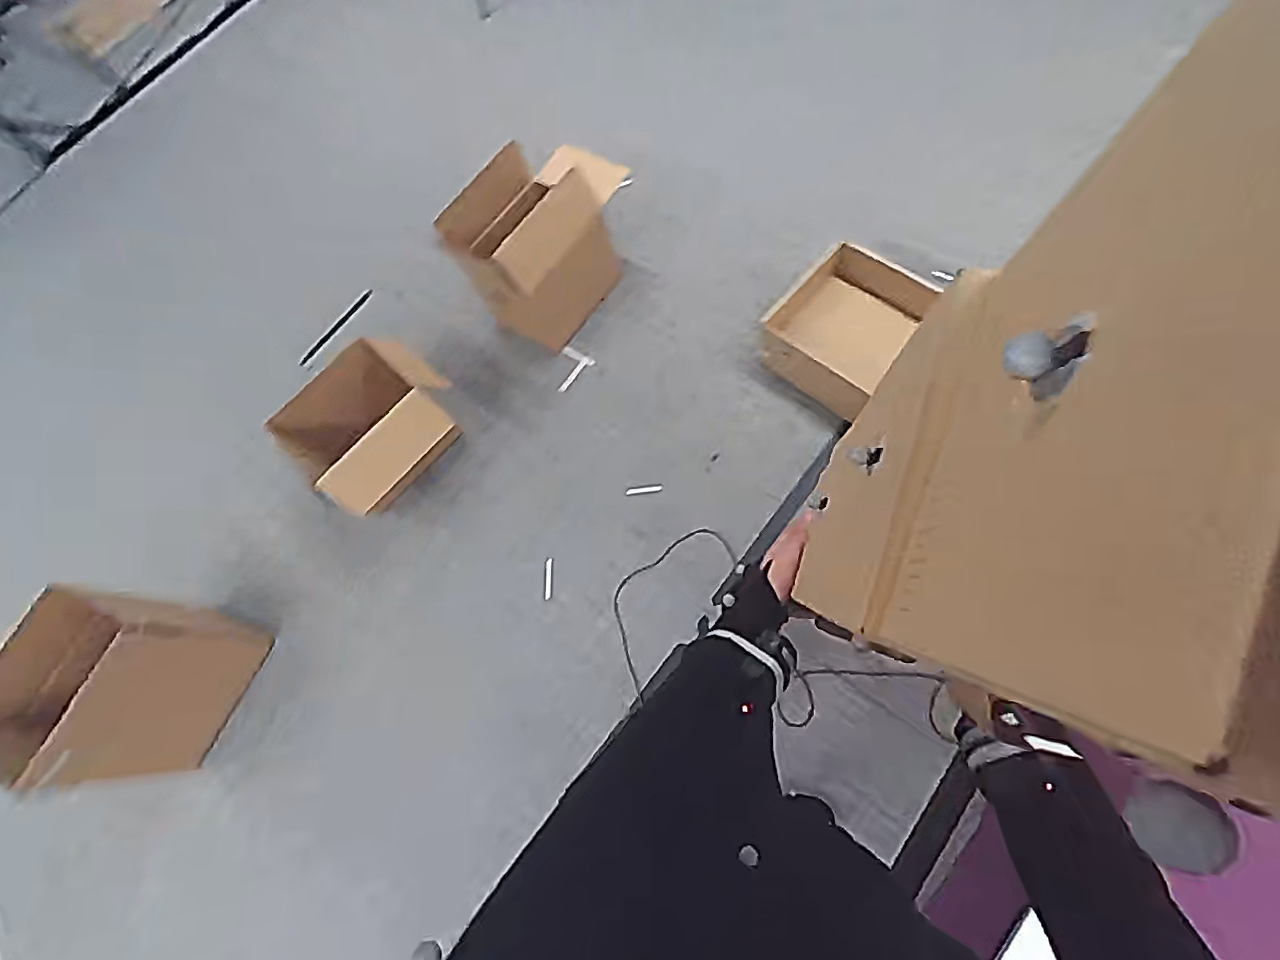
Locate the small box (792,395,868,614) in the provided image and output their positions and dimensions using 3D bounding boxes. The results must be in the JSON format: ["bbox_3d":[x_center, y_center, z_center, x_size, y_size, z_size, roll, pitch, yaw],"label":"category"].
[{"bbox_3d":[0.236,0.050,0.449,0.179,0.176,0.168,17,84,12],"label":"small box"}]

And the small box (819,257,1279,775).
[{"bbox_3d":[0.204,0.017,0.290,0.168,0.176,0.179,16,82,12],"label":"small box"}]
